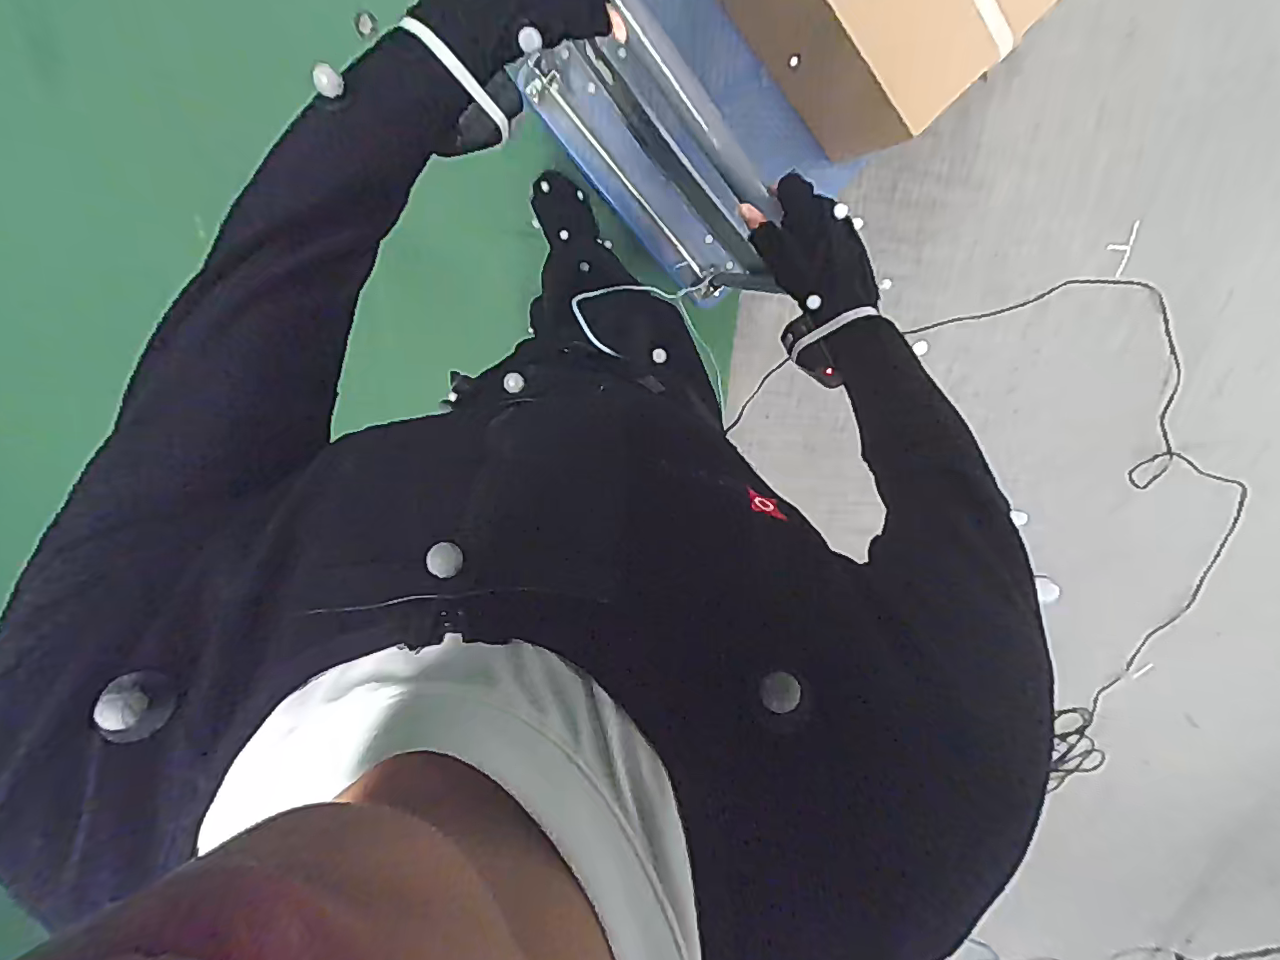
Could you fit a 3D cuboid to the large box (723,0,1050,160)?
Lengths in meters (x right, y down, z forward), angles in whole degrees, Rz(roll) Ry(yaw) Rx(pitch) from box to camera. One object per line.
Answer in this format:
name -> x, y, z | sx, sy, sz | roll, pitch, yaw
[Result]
large box -> 0.380, -0.810, 0.864 | 0.320, 0.320, 0.408 | -43, 109, 13
